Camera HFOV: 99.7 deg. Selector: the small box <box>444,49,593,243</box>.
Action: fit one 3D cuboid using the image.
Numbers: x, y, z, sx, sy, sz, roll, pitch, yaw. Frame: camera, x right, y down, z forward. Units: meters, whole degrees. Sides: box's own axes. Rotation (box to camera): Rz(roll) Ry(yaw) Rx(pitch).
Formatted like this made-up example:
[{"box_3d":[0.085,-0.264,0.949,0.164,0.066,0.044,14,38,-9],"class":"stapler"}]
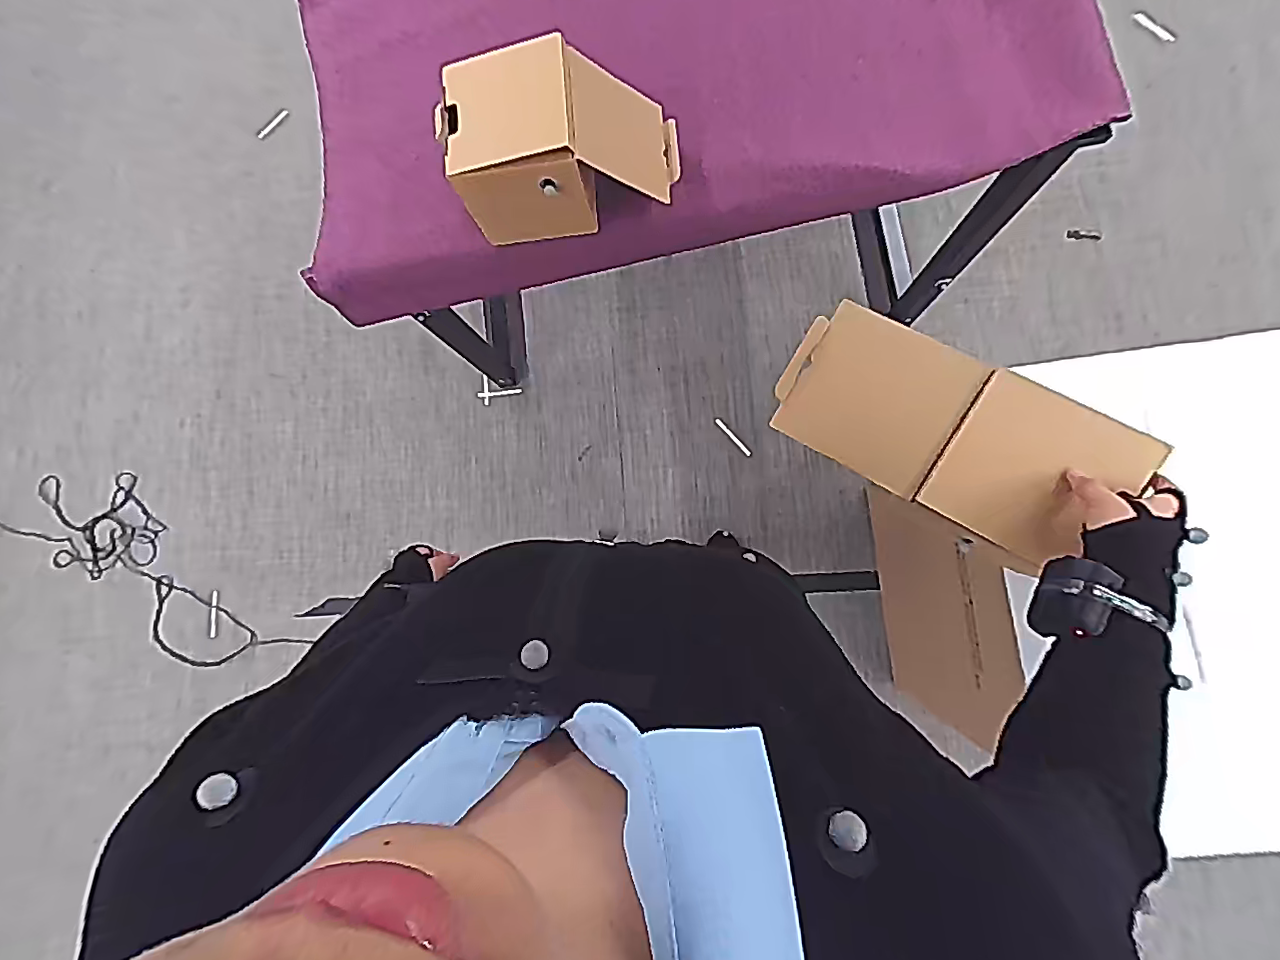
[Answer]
[{"box_3d":[-0.167,-0.474,0.792,0.179,0.176,0.168,-5,82,6],"class":"small box"}]
